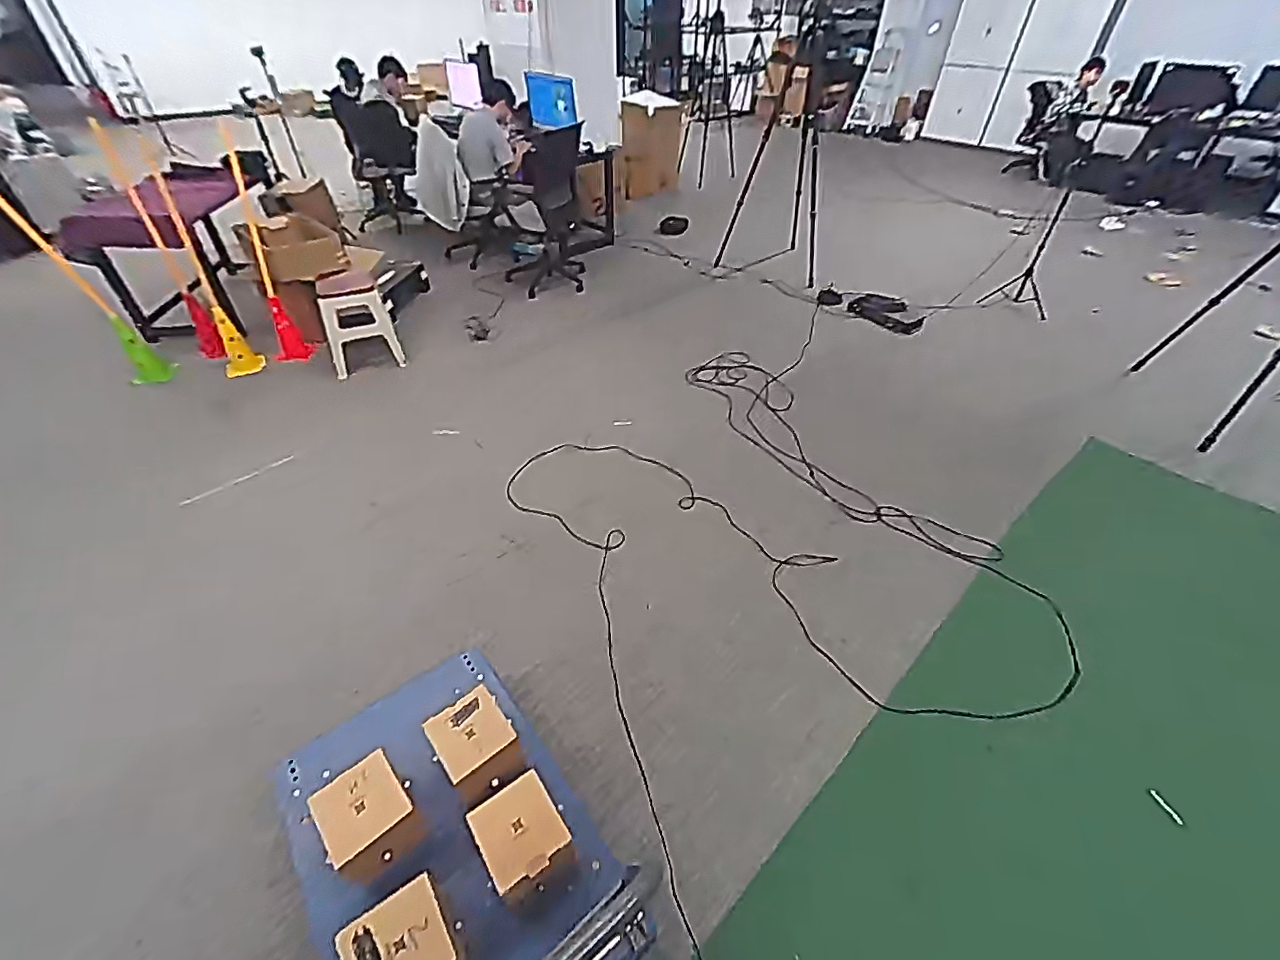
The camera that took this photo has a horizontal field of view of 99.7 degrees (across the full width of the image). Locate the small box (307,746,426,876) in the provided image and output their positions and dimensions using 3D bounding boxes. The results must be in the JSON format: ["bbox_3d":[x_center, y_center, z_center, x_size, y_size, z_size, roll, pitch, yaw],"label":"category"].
[{"bbox_3d":[-0.607,0.749,1.217,0.168,0.176,0.179,-30,51,-31],"label":"small box"}]

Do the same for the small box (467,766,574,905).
[{"bbox_3d":[-0.260,0.784,1.191,0.168,0.176,0.179,-26,50,-27],"label":"small box"}]

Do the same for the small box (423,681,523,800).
[{"bbox_3d":[-0.408,0.645,1.337,0.168,0.176,0.179,-29,52,-28],"label":"small box"}]
